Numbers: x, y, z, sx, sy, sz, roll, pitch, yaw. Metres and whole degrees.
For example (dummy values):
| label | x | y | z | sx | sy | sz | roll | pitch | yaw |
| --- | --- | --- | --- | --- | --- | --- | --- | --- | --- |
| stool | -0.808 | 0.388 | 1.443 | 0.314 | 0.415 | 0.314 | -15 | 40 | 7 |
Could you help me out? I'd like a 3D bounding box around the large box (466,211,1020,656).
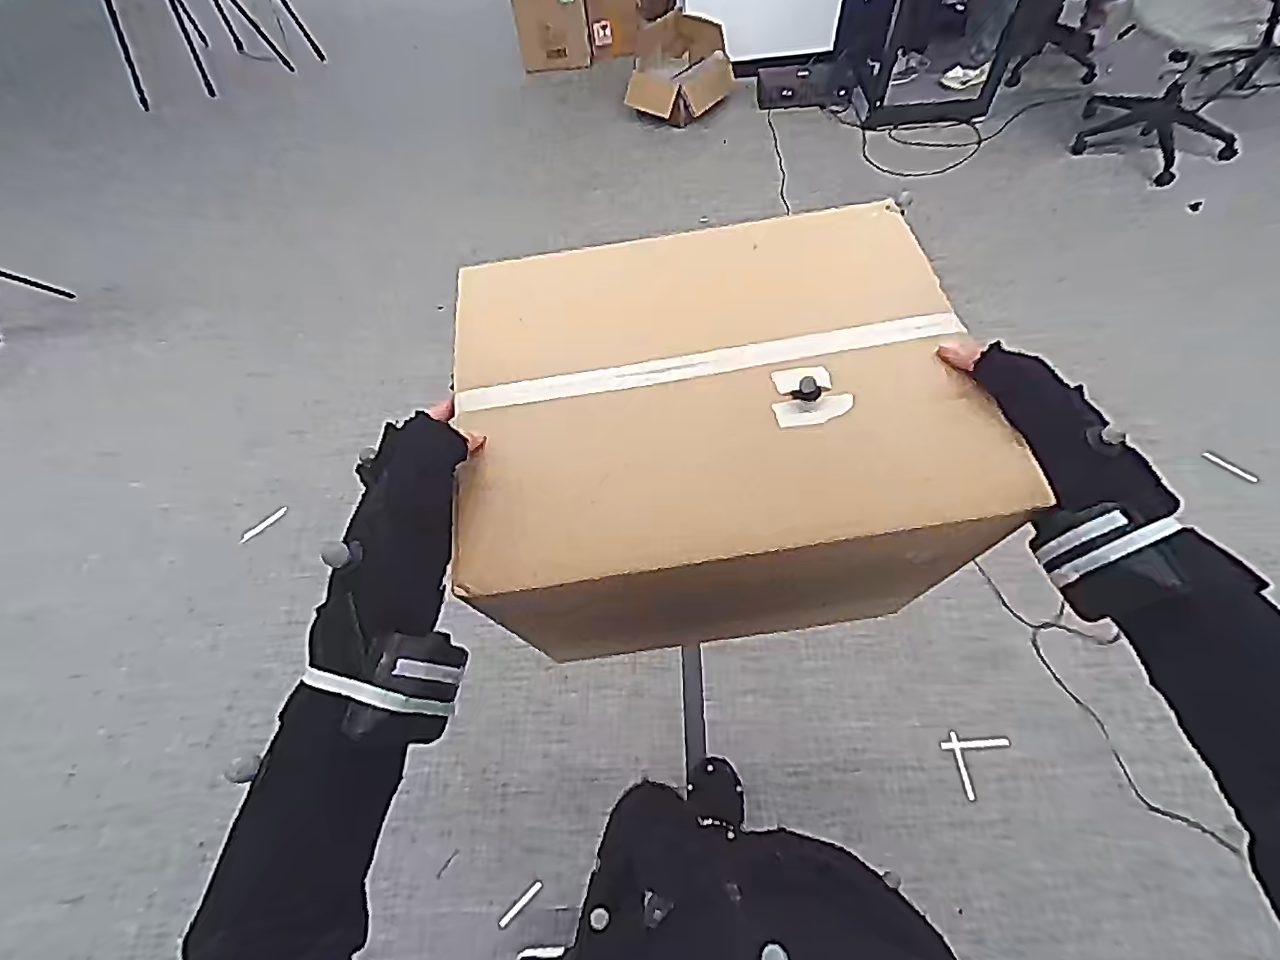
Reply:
| label | x | y | z | sx | sy | sz | roll | pitch | yaw |
| --- | --- | --- | --- | --- | --- | --- | --- | --- | --- |
| large box | 0.062 | -0.022 | 0.577 | 0.408 | 0.320 | 0.320 | -9 | 64 | 1 |
